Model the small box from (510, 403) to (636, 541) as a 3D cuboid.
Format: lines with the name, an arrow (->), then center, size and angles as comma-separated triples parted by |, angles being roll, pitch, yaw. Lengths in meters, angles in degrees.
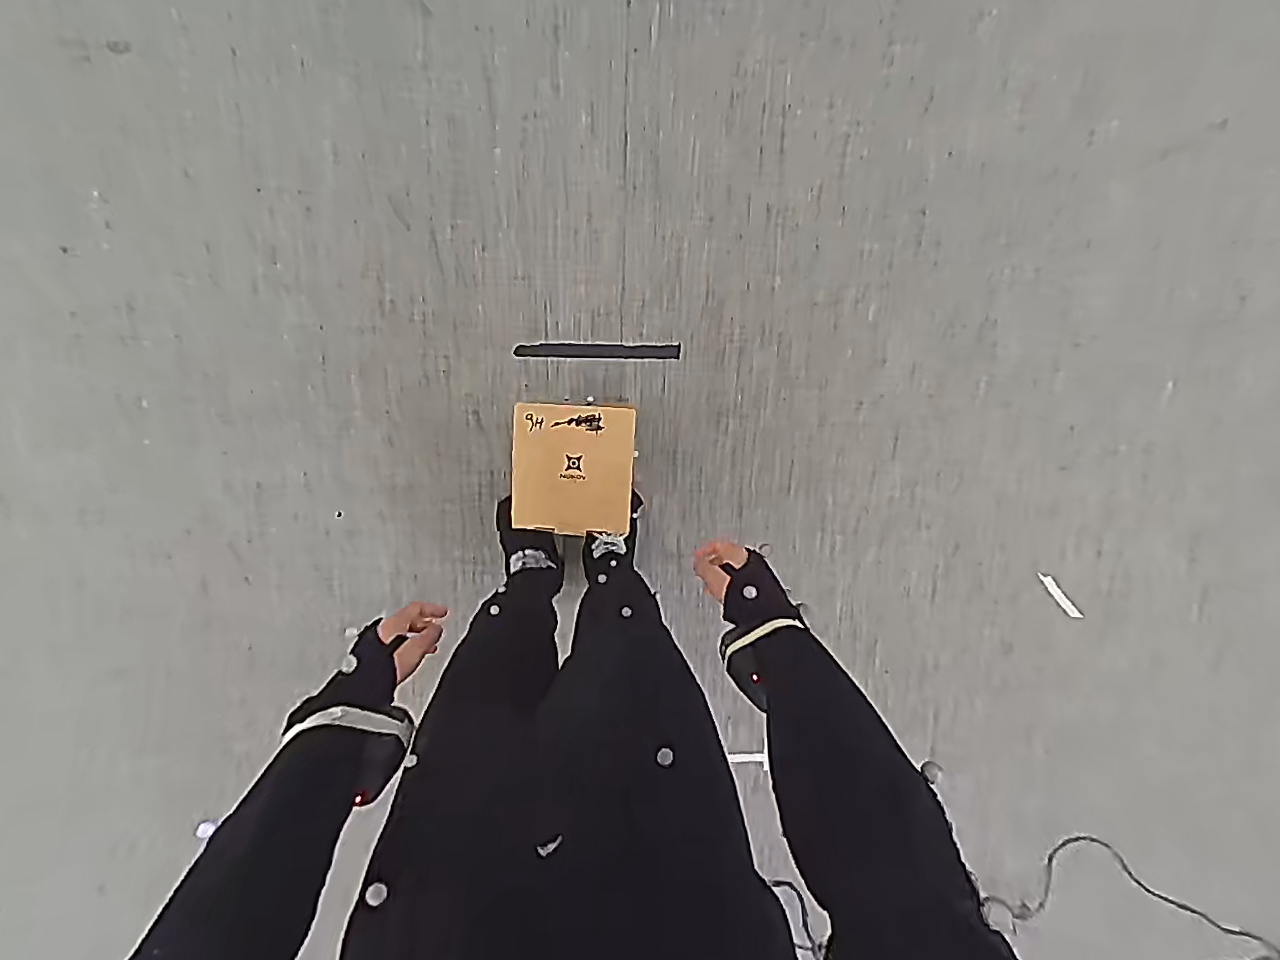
small box -> -0.093, -0.019, 0.809 | 0.168, 0.176, 0.179 | 3, 100, -2
